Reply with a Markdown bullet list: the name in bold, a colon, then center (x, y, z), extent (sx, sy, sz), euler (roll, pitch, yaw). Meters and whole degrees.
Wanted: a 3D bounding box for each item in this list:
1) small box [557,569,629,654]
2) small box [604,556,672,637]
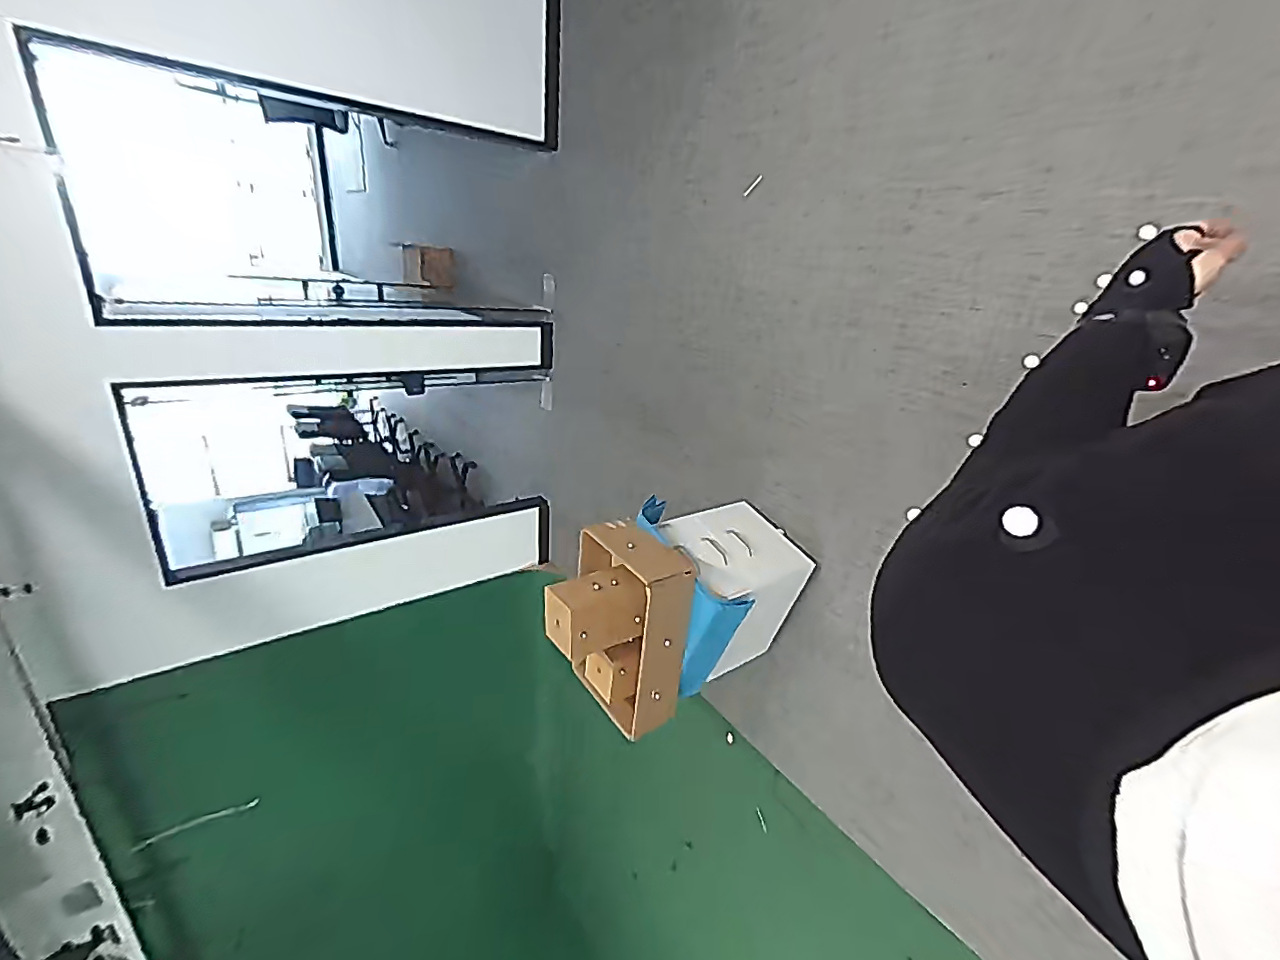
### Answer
- **small box**: center (-0.145, 0.401, 1.680), extent (0.168, 0.176, 0.179), euler (28, 121, 50)
- **small box**: center (-0.009, 0.374, 1.767), extent (0.168, 0.176, 0.179), euler (30, 124, 50)
